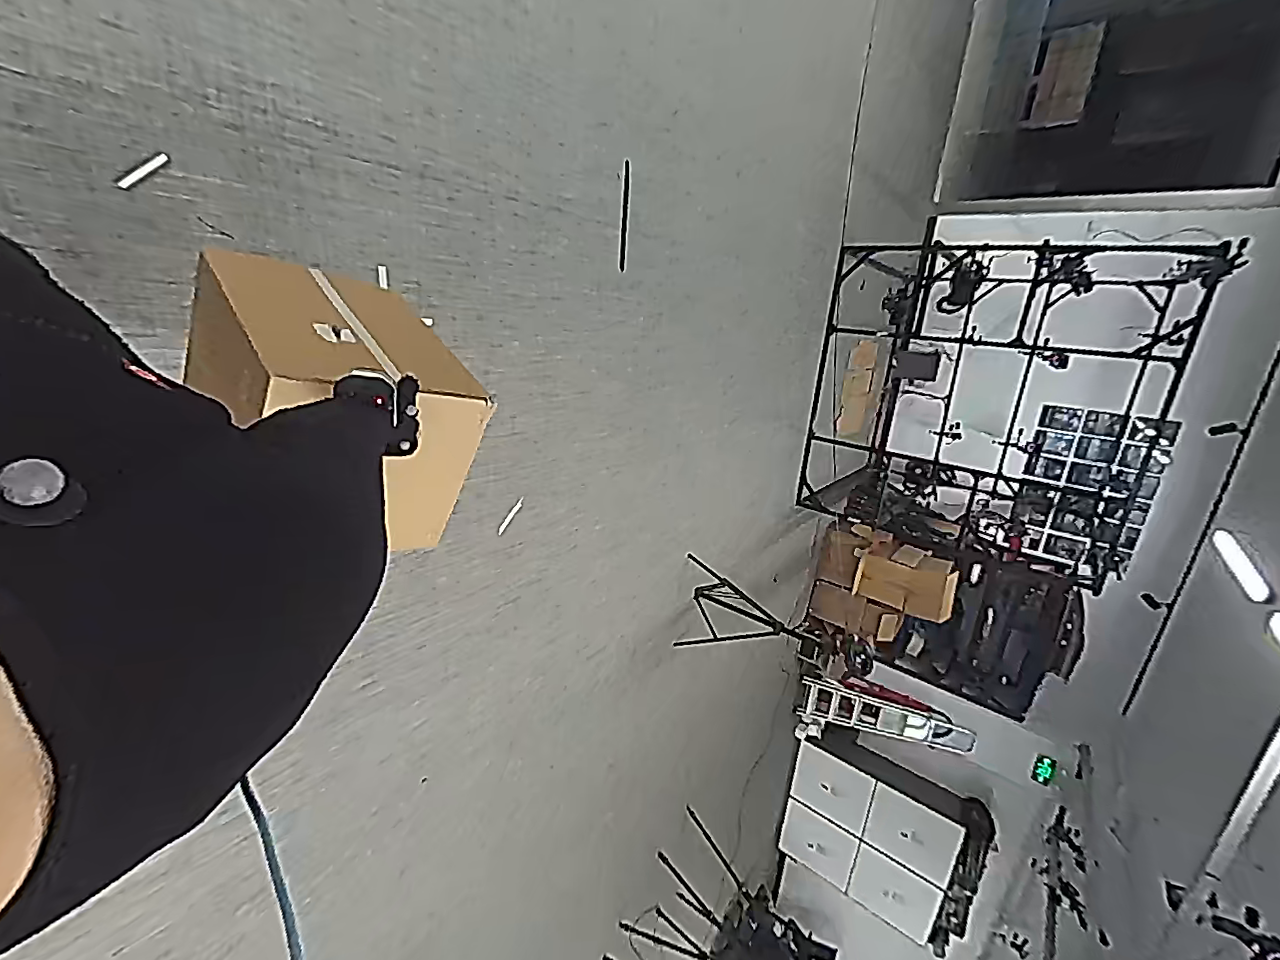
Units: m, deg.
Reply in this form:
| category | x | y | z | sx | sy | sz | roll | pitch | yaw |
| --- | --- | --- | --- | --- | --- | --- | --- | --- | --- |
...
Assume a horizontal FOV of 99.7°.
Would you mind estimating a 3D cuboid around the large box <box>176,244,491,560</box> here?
| category | x | y | z | sx | sy | sz | roll | pitch | yaw |
| --- | --- | --- | --- | --- | --- | --- | --- | --- | --- |
| large box | -0.529 | -0.126 | 0.914 | 0.320 | 0.408 | 0.320 | -3 | 131 | -50 |
